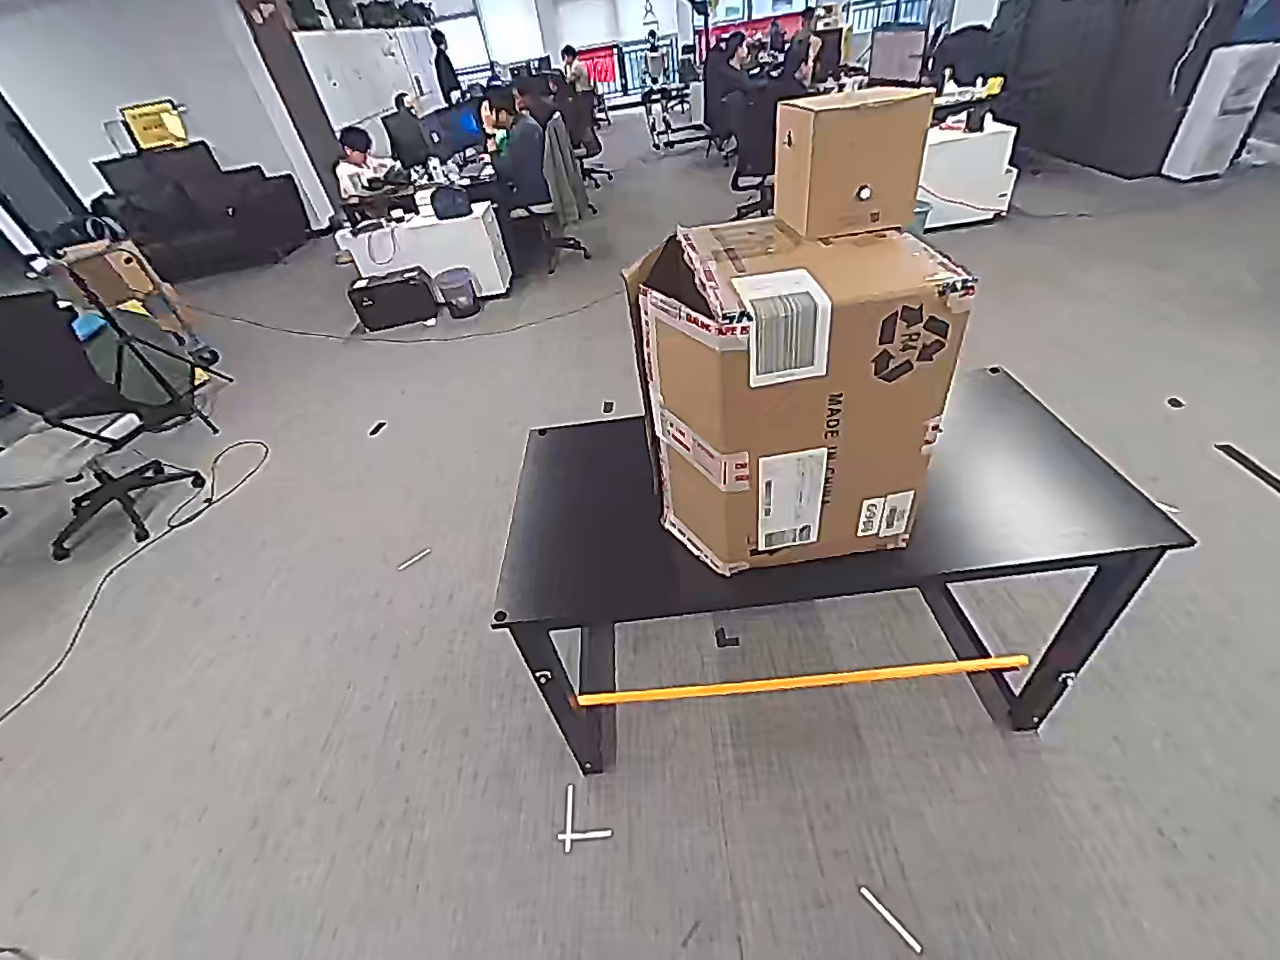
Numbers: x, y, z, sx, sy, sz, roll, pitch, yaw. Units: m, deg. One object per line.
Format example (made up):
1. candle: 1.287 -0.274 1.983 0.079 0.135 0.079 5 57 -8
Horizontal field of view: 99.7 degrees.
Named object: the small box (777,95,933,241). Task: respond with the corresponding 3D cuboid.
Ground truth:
1. small box: 0.318 -0.486 0.844 0.168 0.176 0.179 -9 38 0
